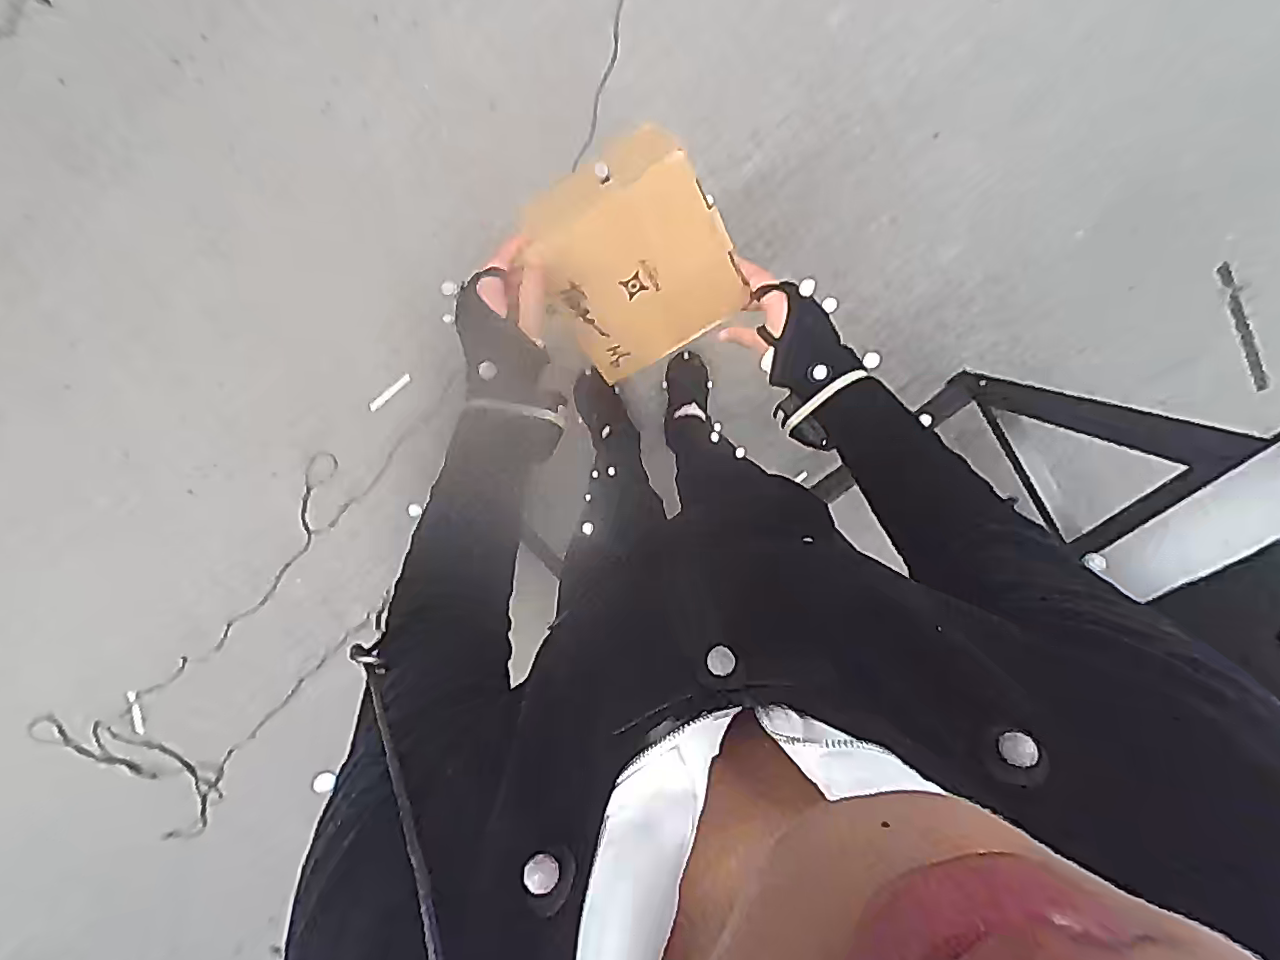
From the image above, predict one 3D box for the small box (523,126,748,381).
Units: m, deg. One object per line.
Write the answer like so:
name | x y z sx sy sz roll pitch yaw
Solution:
small box | -0.011 -0.248 0.586 0.179 0.176 0.168 -27 129 13
